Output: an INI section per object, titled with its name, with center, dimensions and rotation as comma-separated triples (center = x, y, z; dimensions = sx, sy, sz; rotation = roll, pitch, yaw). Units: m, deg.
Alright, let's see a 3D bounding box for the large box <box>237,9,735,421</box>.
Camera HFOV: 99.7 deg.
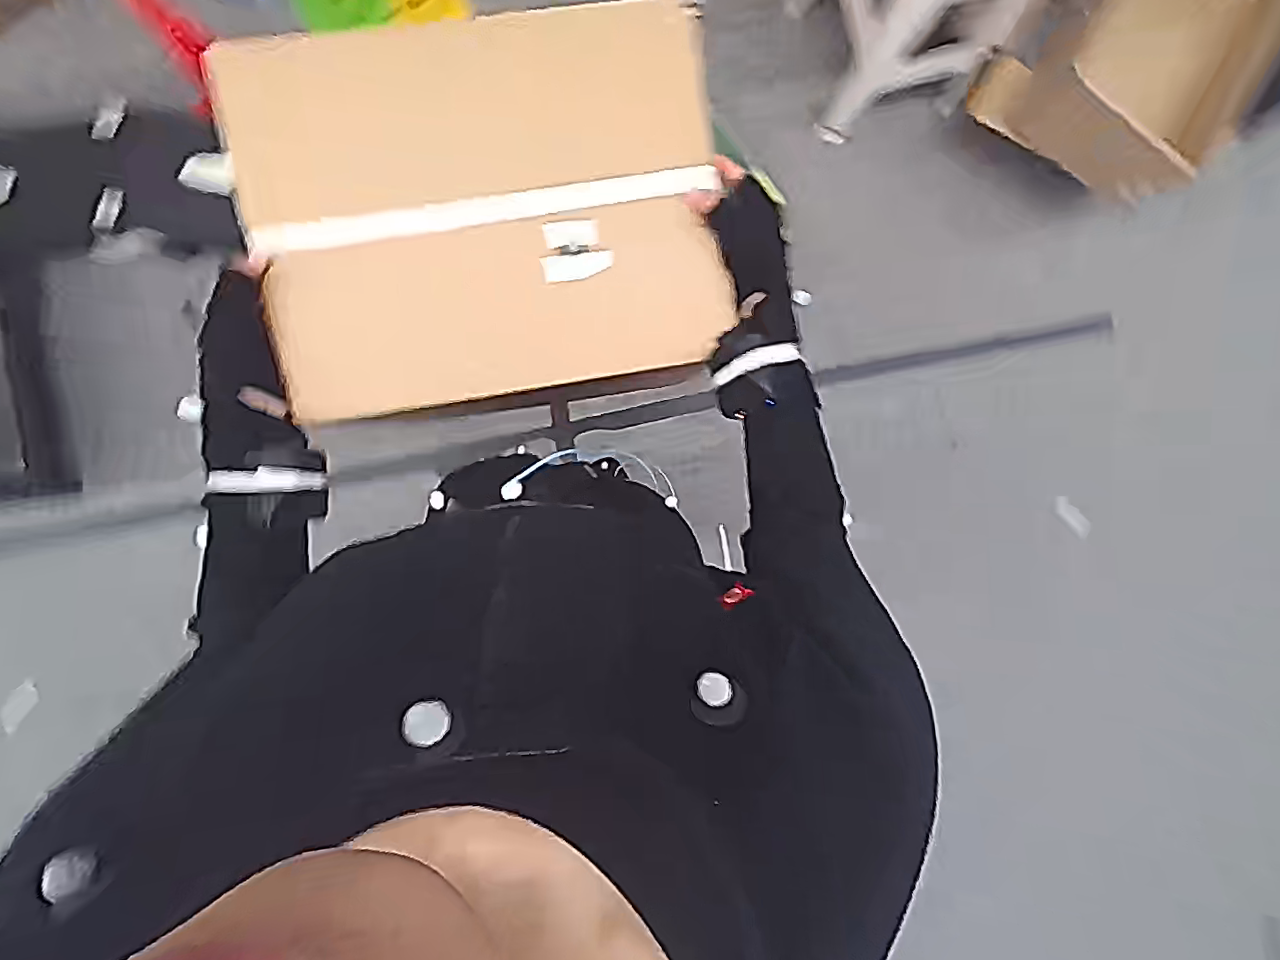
[large box]
center = -0.141, -0.255, 0.636
dimensions = 0.408, 0.320, 0.320
rotation = -9, 97, -4
